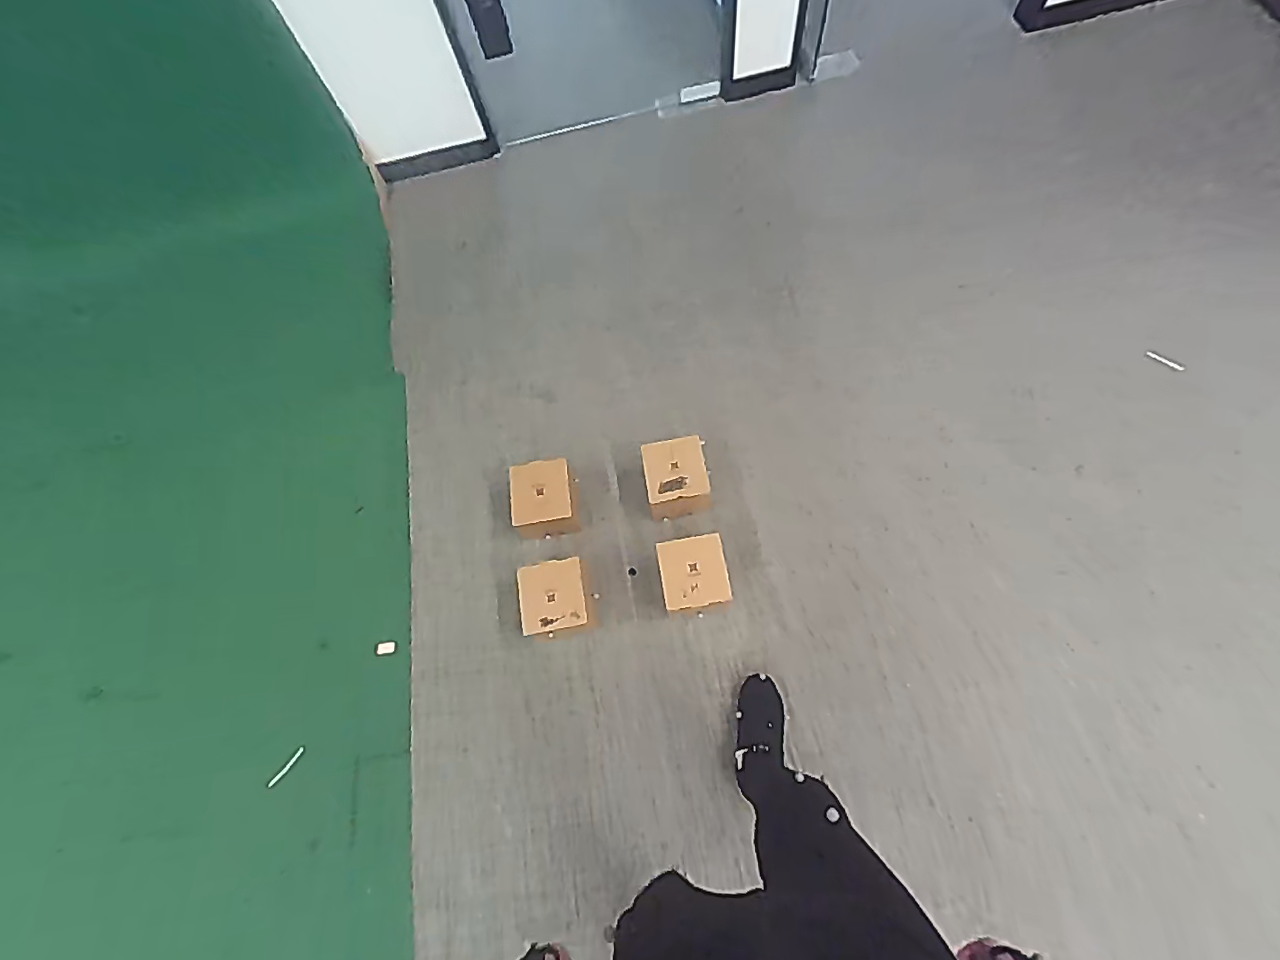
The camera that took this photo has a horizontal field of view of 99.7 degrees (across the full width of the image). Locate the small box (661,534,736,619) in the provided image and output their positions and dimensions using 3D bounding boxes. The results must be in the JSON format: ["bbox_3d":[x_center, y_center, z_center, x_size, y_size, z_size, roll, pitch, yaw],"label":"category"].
[{"bbox_3d":[0.151,0.258,1.420,0.168,0.176,0.179,-11,68,4],"label":"small box"}]

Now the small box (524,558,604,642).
[{"bbox_3d":[-0.200,0.324,1.441,0.168,0.176,0.179,-12,67,3],"label":"small box"}]

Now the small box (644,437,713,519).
[{"bbox_3d":[0.111,0.003,1.523,0.168,0.176,0.179,-10,68,3],"label":"small box"}]
